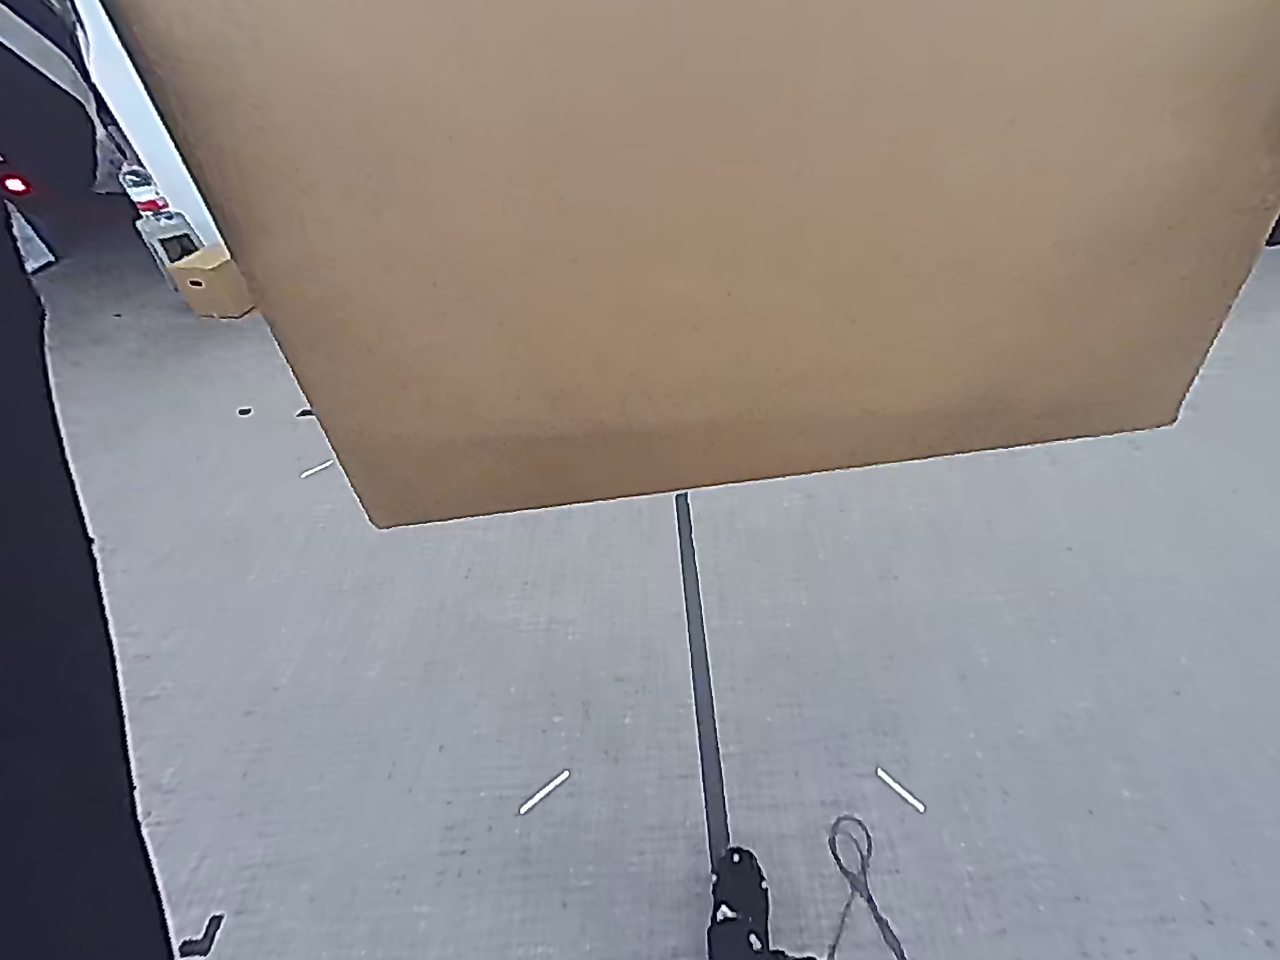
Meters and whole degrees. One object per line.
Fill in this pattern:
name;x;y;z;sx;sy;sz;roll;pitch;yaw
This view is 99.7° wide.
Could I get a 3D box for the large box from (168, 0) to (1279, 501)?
large box;0.035;-0.216;0.326;0.408;0.320;0.320;-7;35;-1
